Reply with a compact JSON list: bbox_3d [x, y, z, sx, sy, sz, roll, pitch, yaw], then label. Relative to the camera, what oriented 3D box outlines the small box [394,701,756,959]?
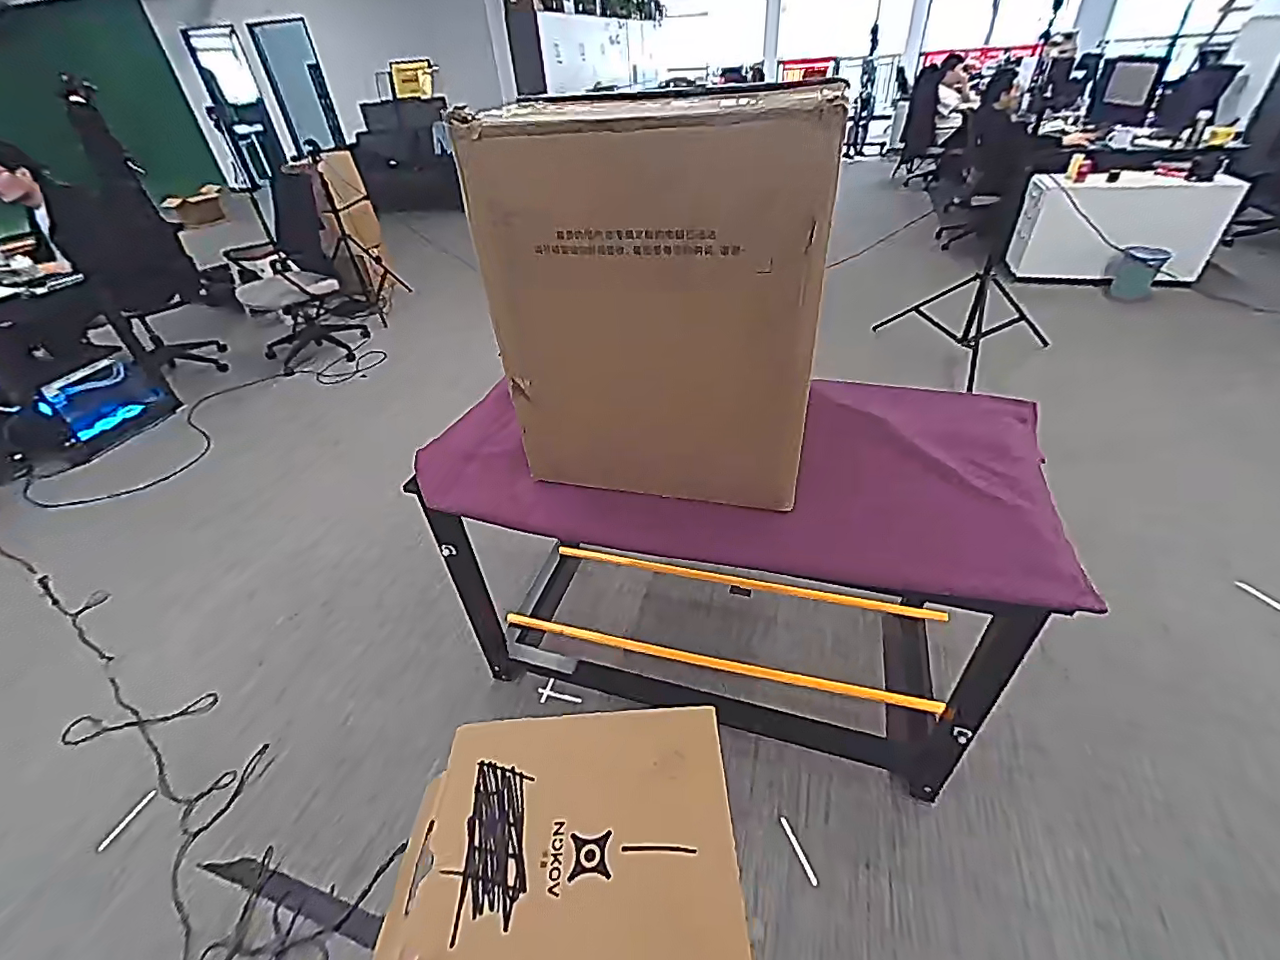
[{"bbox_3d":[-0.025,0.265,0.337,0.179,0.176,0.168,-5,34,2],"label":"small box"}]
